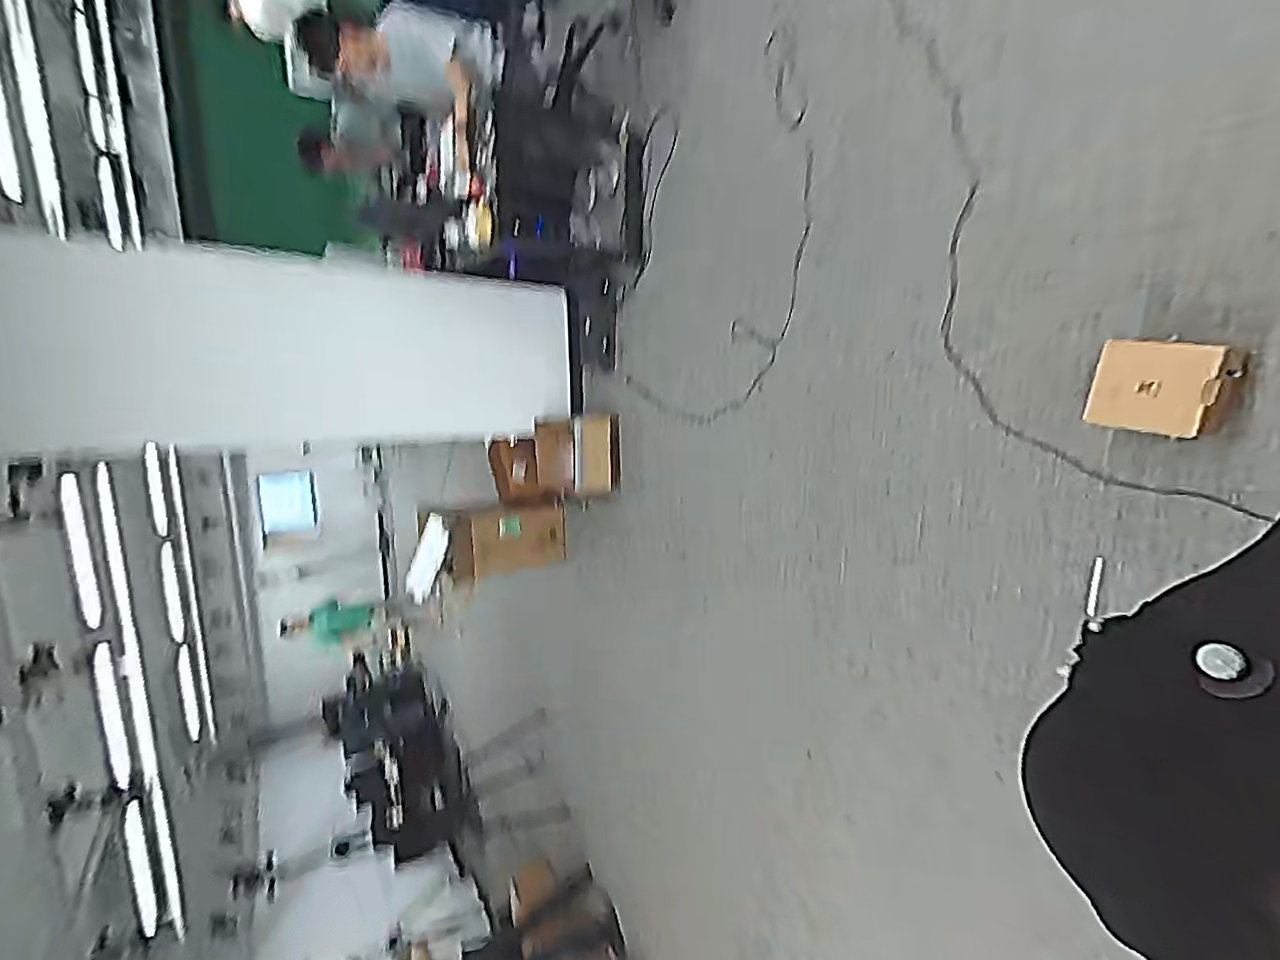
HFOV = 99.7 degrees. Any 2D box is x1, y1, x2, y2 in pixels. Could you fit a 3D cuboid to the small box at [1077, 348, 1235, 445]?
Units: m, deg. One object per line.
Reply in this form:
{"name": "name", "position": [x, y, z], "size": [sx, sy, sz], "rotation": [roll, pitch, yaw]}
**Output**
{"name": "small box", "position": [1.030, -0.171, 1.080], "size": [0.179, 0.176, 0.168], "rotation": [26, 116, 53]}
